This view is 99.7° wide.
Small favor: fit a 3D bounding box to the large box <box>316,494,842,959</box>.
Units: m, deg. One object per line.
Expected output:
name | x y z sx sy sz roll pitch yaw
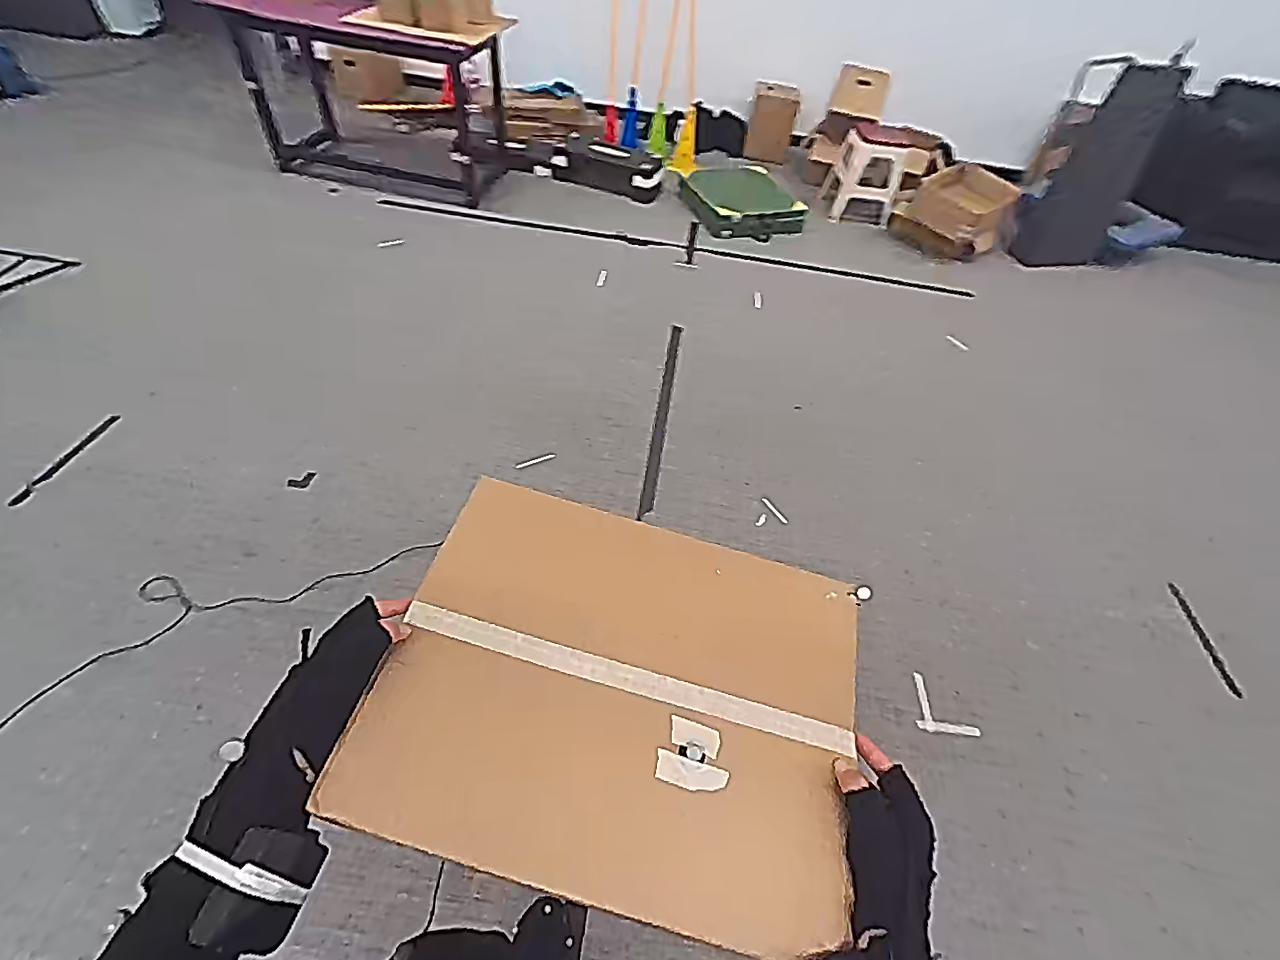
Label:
large box | -0.039 0.266 0.598 0.408 0.320 0.320 16 55 1
